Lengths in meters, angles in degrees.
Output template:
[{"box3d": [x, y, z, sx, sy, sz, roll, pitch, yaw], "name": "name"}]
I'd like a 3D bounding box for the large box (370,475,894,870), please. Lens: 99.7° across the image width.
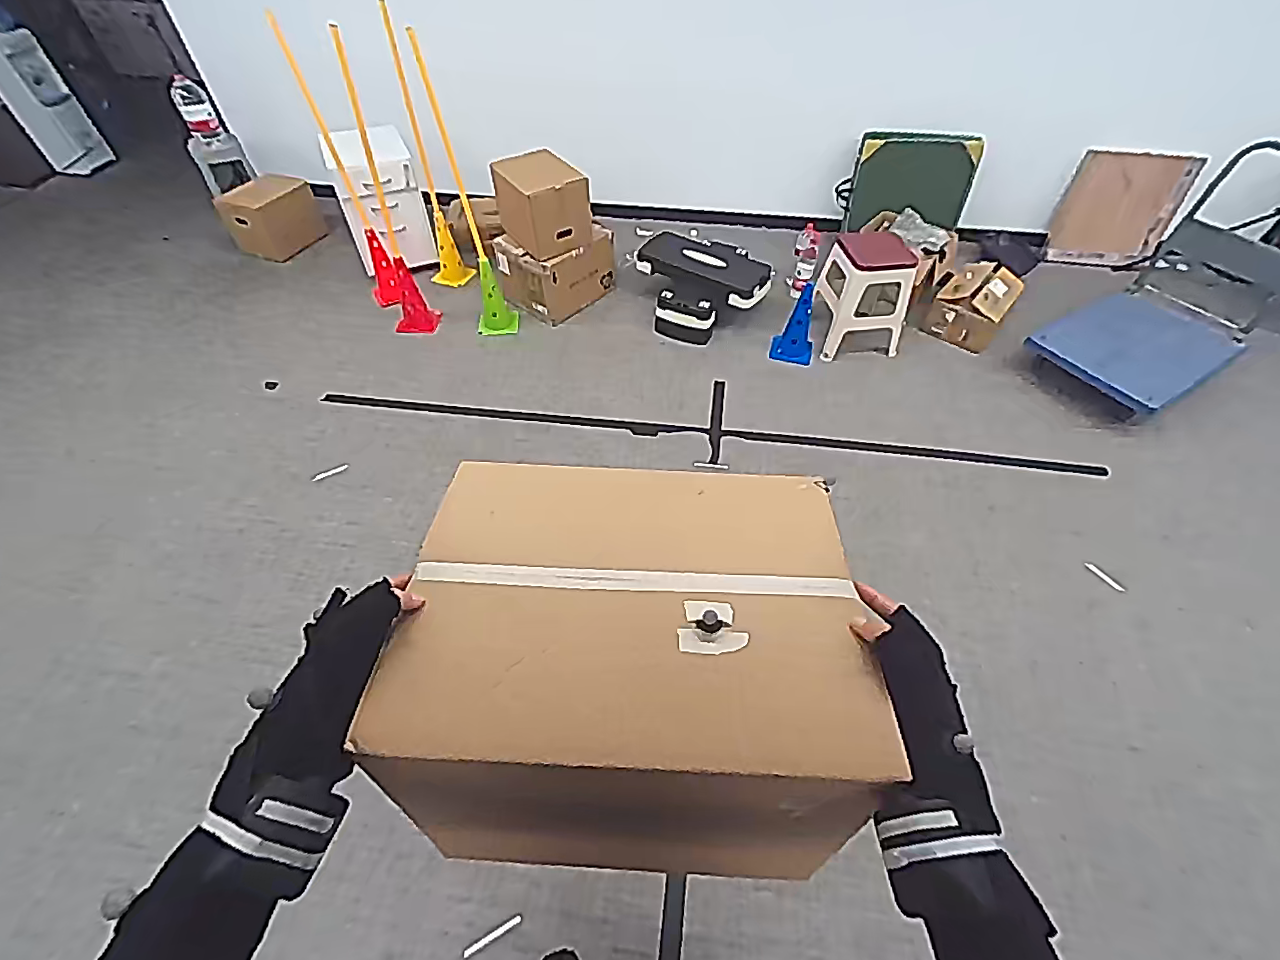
[{"box3d": [-0.007, 0.214, 0.611, 0.408, 0.320, 0.320, 3, 43, 1], "name": "large box"}]
